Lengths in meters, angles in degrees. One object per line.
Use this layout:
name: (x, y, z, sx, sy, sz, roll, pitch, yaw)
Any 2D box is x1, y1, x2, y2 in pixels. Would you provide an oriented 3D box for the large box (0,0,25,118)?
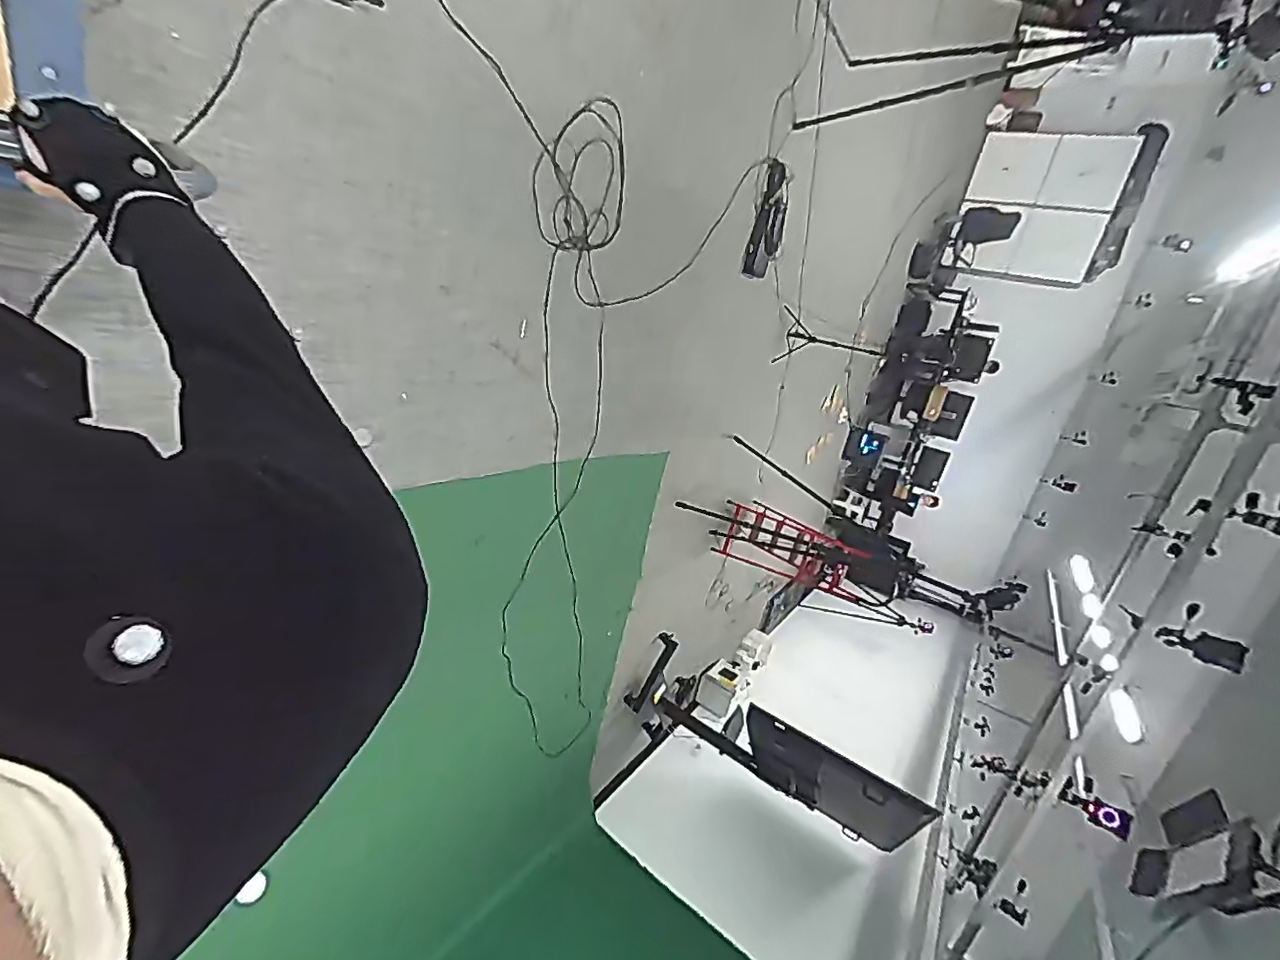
large box: (-0.979, -0.677, 0.598, 0.320, 0.320, 0.408, -17, 123, -53)
